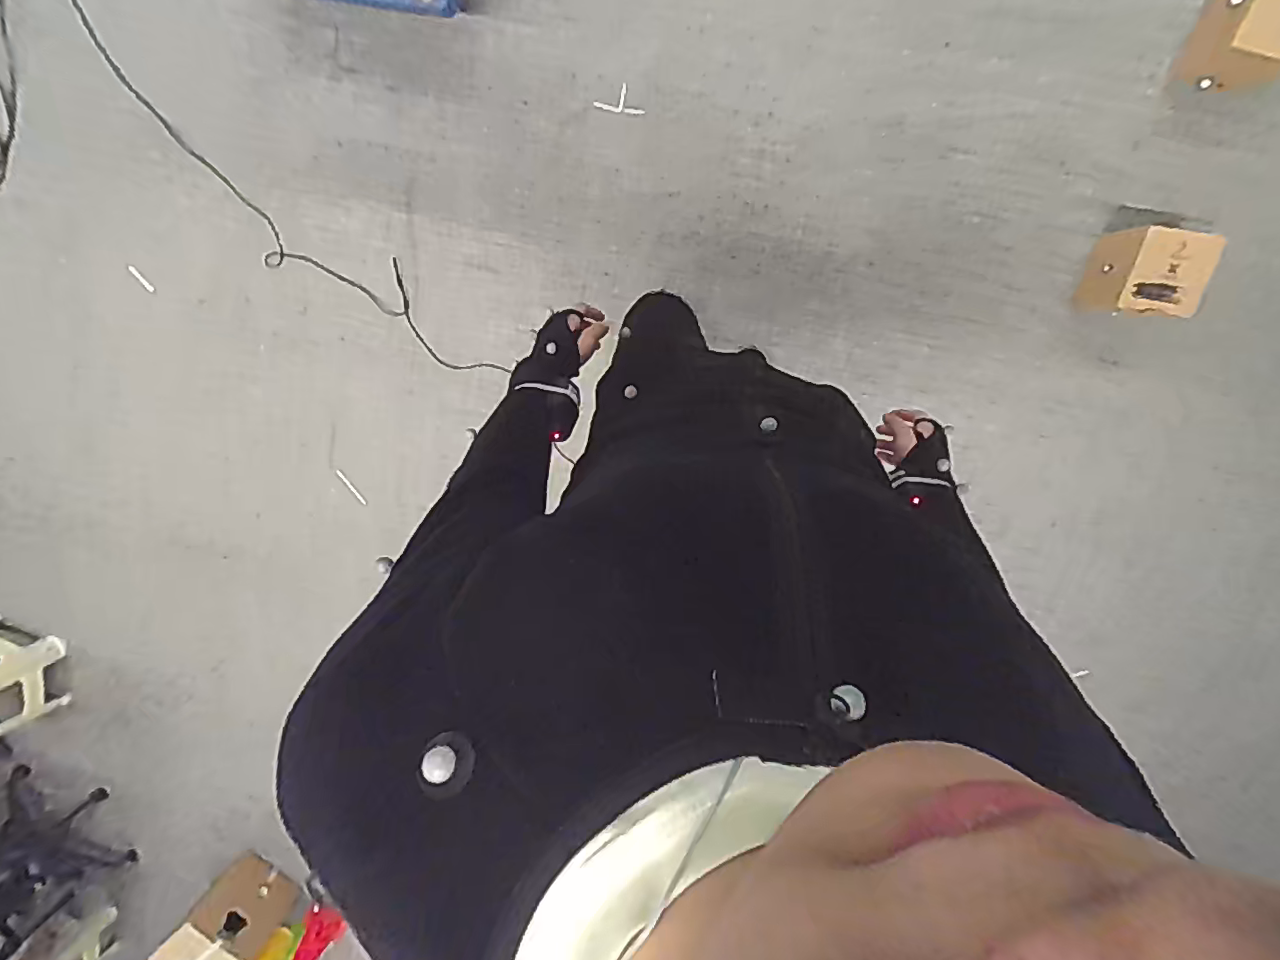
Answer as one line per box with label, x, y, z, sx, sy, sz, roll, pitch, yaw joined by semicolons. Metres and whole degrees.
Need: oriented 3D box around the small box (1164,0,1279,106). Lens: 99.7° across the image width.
small box;1.277;-0.930;1.132;0.168;0.176;0.179;19;109;1
